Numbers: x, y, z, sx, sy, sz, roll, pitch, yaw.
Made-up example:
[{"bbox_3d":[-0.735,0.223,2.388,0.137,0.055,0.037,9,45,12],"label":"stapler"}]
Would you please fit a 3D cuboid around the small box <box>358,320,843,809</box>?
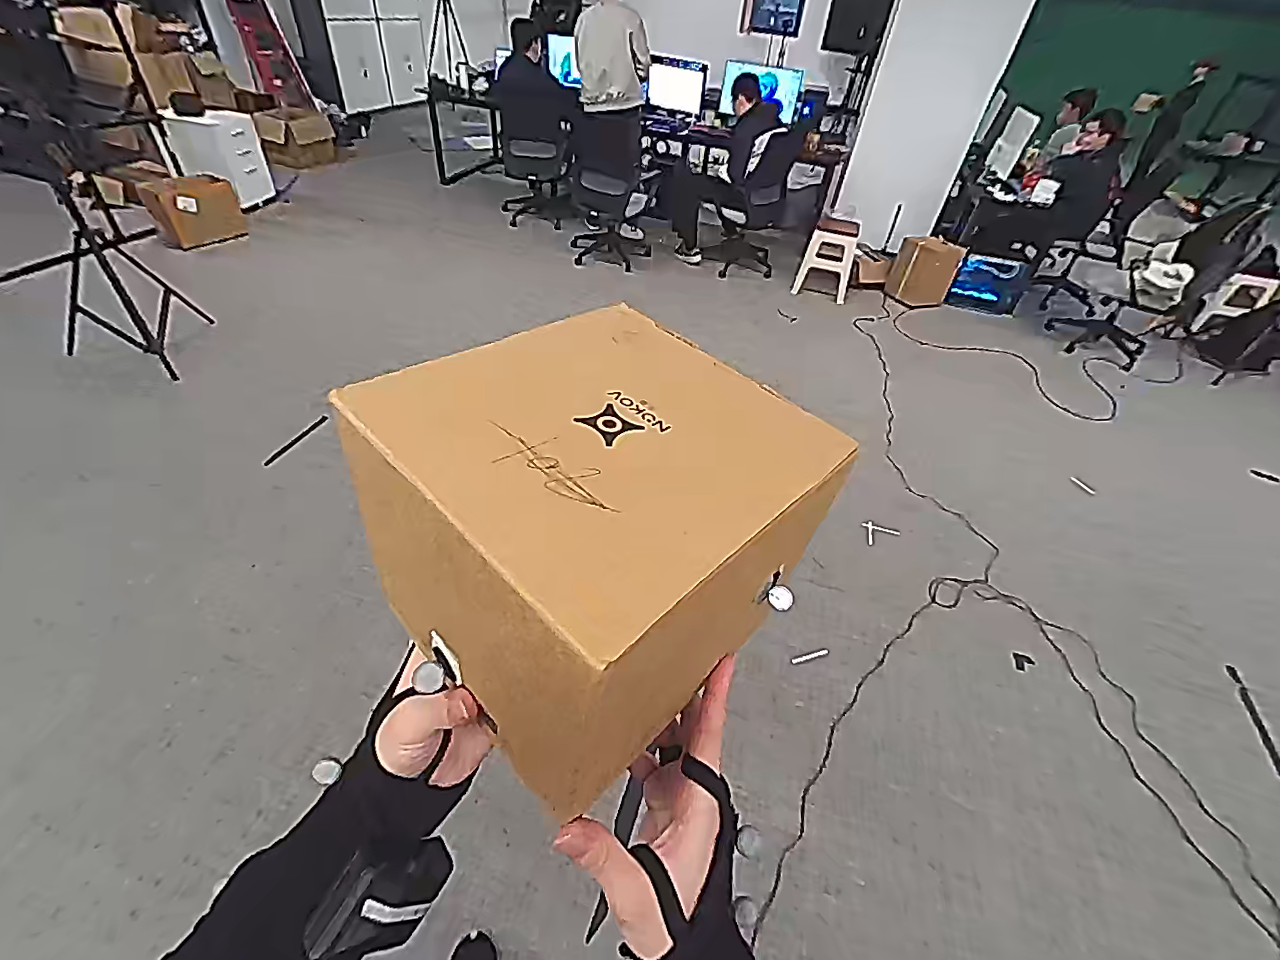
[{"bbox_3d":[-0.024,0.038,0.309,0.168,0.176,0.179,37,48,26],"label":"small box"}]
